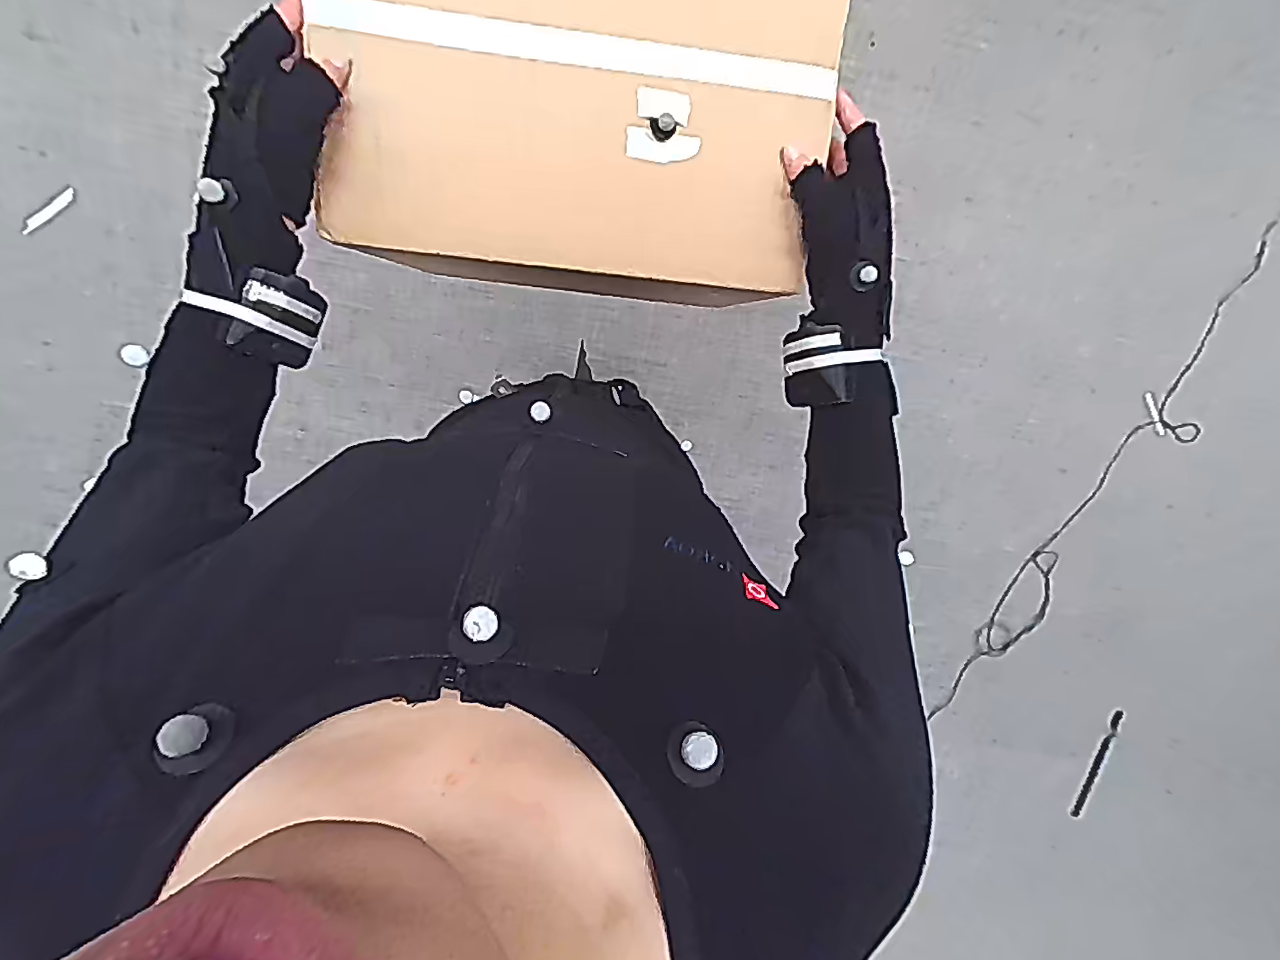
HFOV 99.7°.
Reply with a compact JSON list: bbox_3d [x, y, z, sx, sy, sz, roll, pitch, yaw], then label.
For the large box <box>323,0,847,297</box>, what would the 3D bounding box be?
[{"bbox_3d":[-0.053,-0.375,0.563,0.408,0.320,0.320,4,106,-6],"label":"large box"}]
